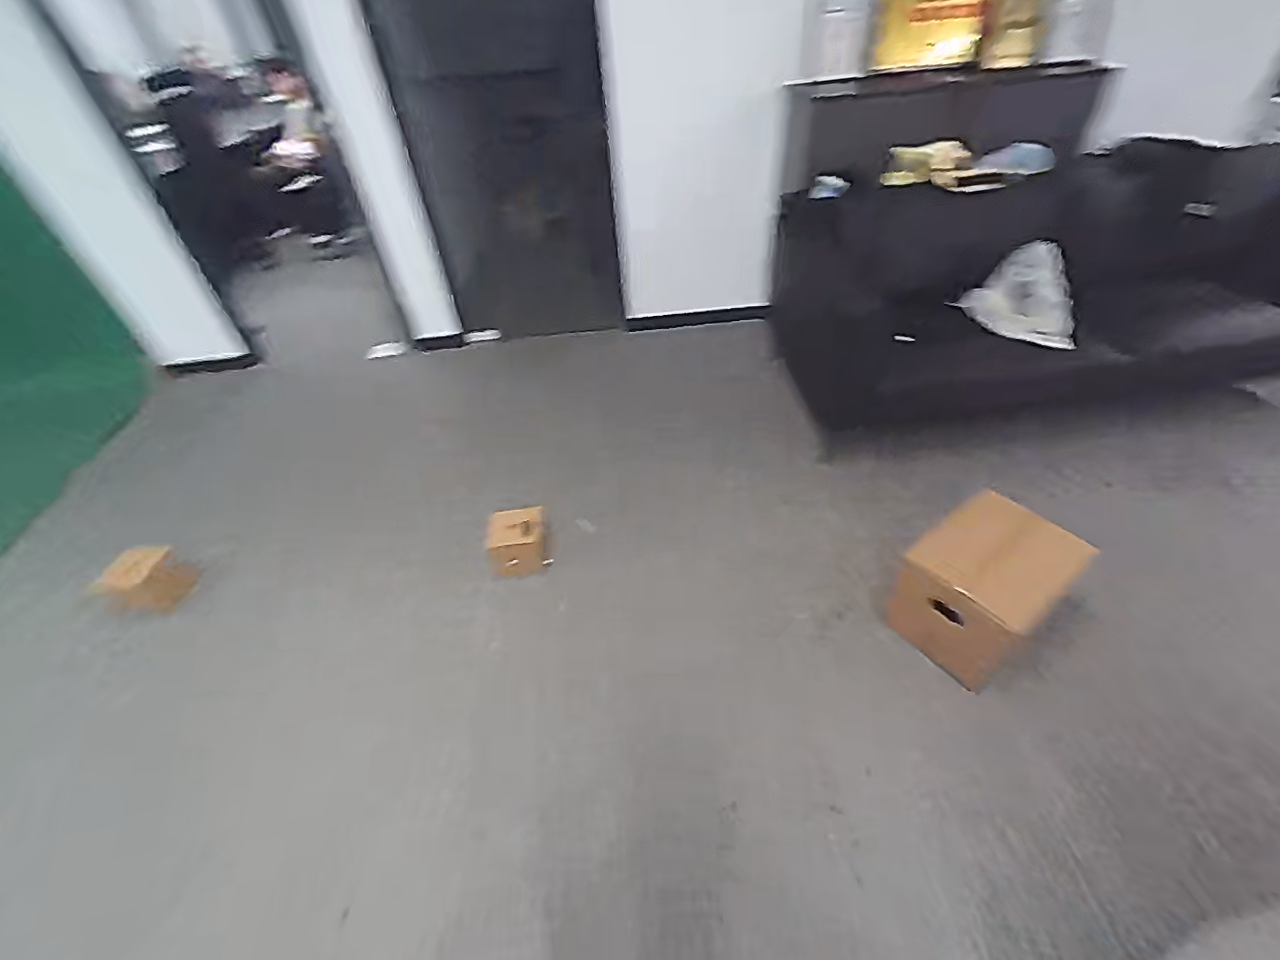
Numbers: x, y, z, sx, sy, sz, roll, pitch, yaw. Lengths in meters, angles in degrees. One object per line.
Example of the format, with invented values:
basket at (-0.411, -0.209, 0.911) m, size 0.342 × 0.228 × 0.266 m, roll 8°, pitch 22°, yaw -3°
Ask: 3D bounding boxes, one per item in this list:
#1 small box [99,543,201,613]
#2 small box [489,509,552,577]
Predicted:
small box at (-1.675, 0.337, 1.867) m, size 0.168 × 0.176 × 0.179 m, roll -2°, pitch 43°, yaw 4°
small box at (-0.409, 0.223, 1.892) m, size 0.179 × 0.176 × 0.168 m, roll -5°, pitch 43°, yaw 1°
